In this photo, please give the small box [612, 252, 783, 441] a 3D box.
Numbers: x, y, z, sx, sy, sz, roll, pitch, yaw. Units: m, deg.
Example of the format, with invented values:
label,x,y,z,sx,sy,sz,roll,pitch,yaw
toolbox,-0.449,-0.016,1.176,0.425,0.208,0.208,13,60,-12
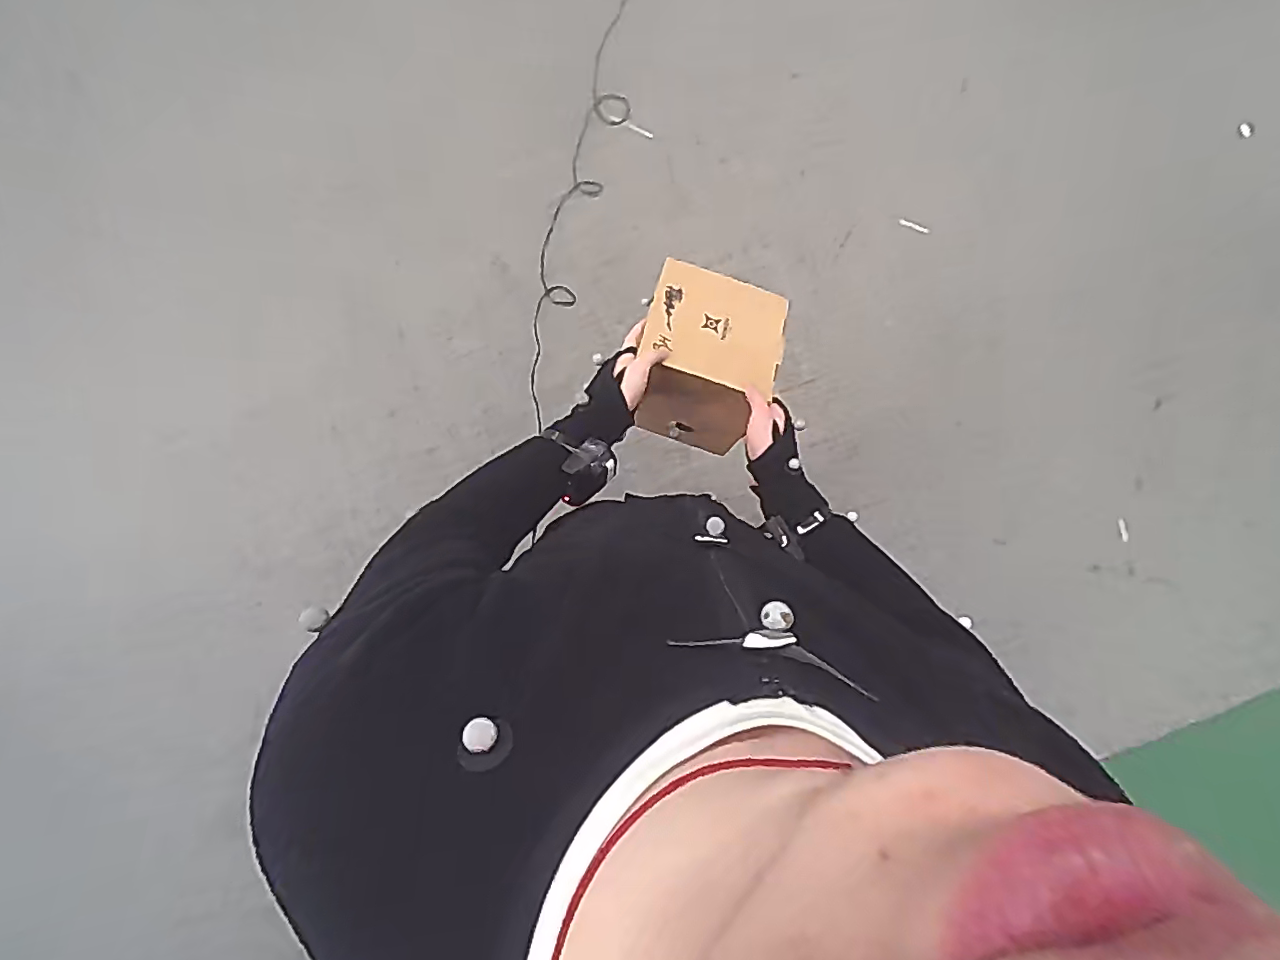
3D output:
label,x,y,z,sx,sy,sz,roll,pitch,yaw
small box,0.074,-0.172,0.754,0.179,0.176,0.168,17,67,-7
